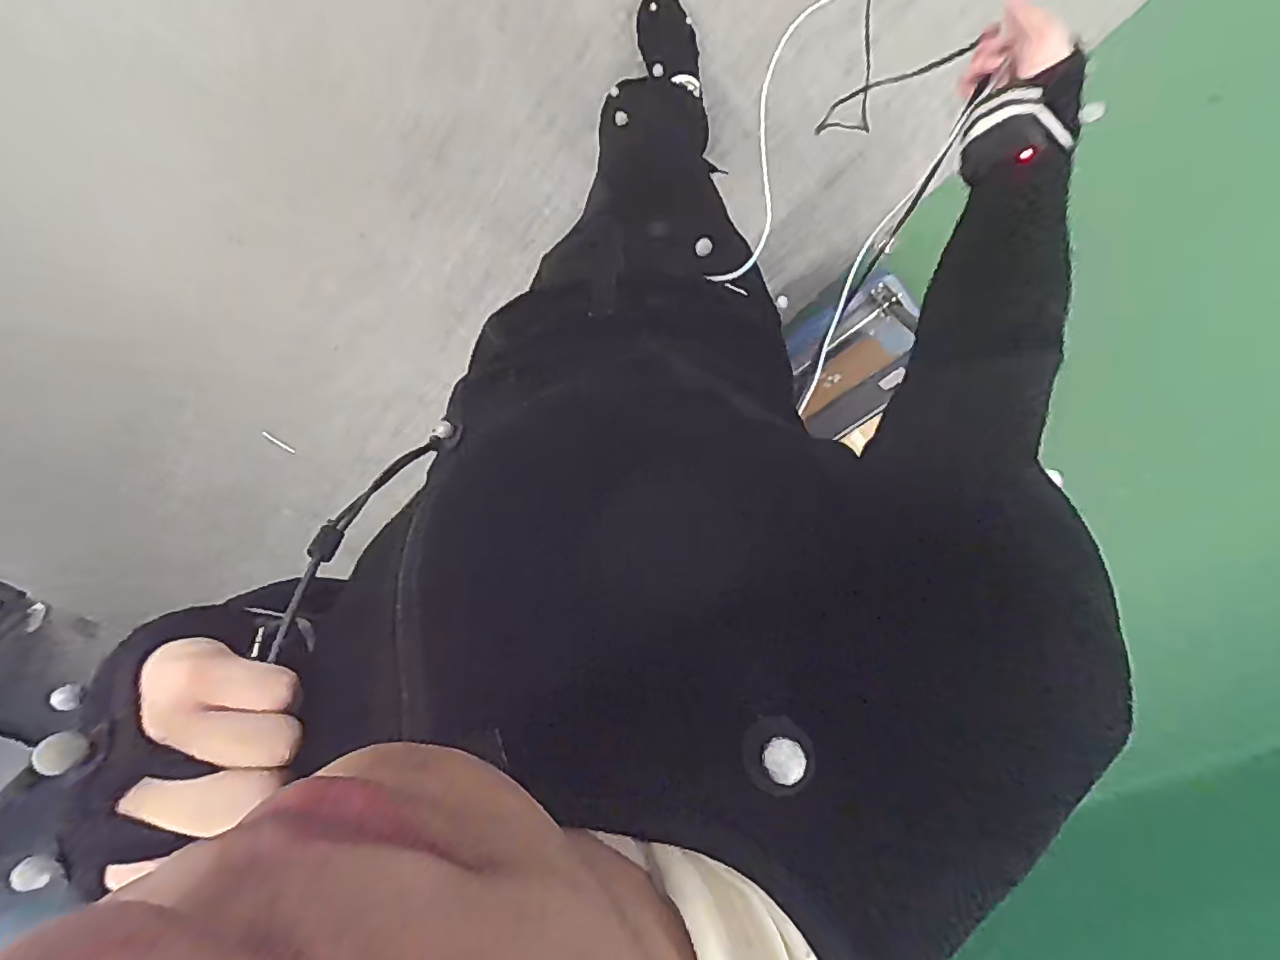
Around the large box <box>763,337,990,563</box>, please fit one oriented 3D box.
[{"bbox_3d":[0.569,-0.076,1.354,0.320,0.320,0.408,-36,117,23],"label":"large box"}]
